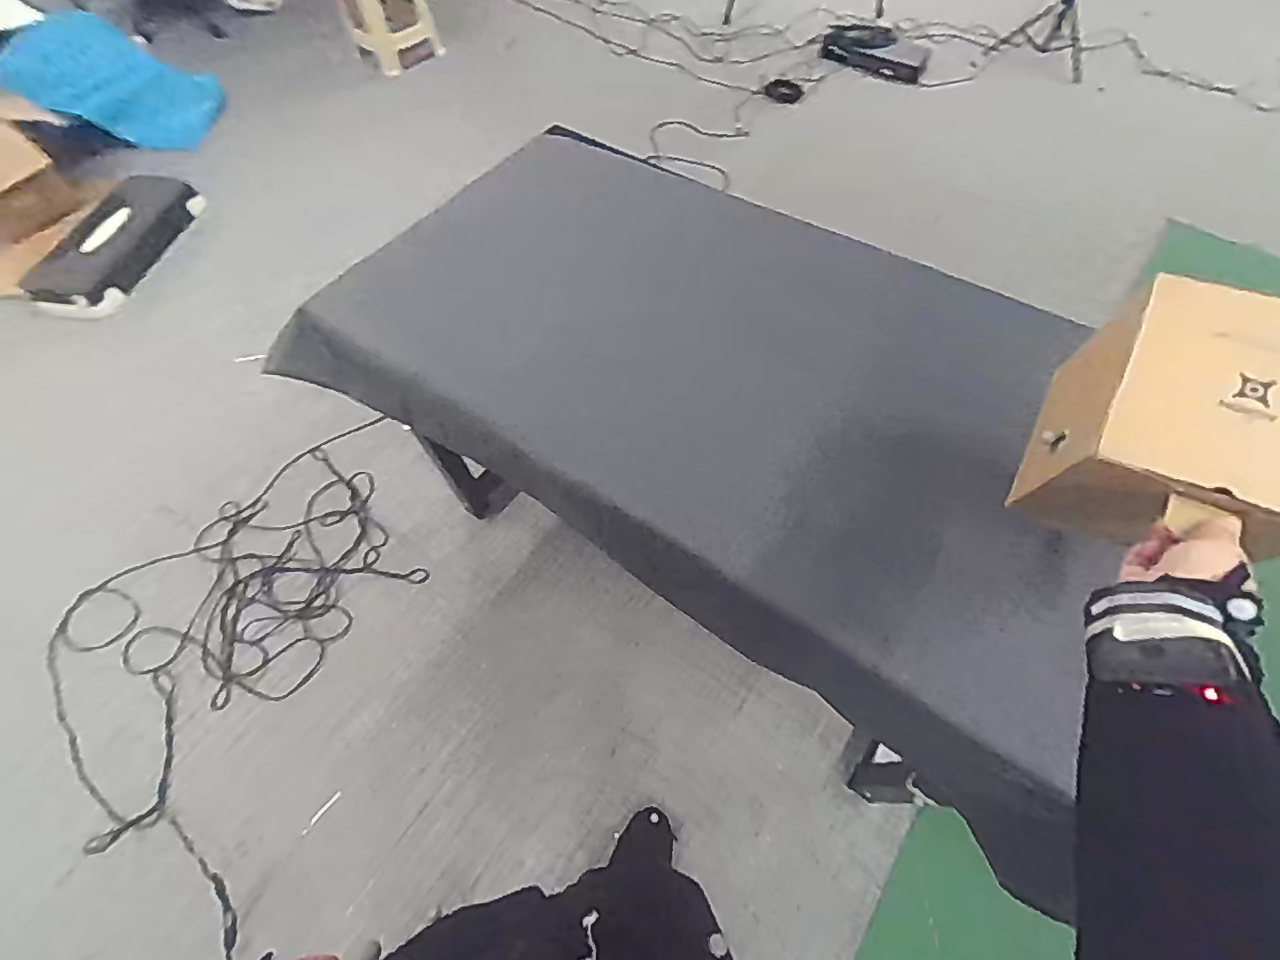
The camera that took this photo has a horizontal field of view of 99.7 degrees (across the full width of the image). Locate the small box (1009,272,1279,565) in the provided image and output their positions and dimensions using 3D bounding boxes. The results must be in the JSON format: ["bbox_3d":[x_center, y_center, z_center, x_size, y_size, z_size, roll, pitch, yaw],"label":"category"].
[{"bbox_3d":[0.466,-0.042,0.479,0.168,0.176,0.179,23,77,18],"label":"small box"}]
